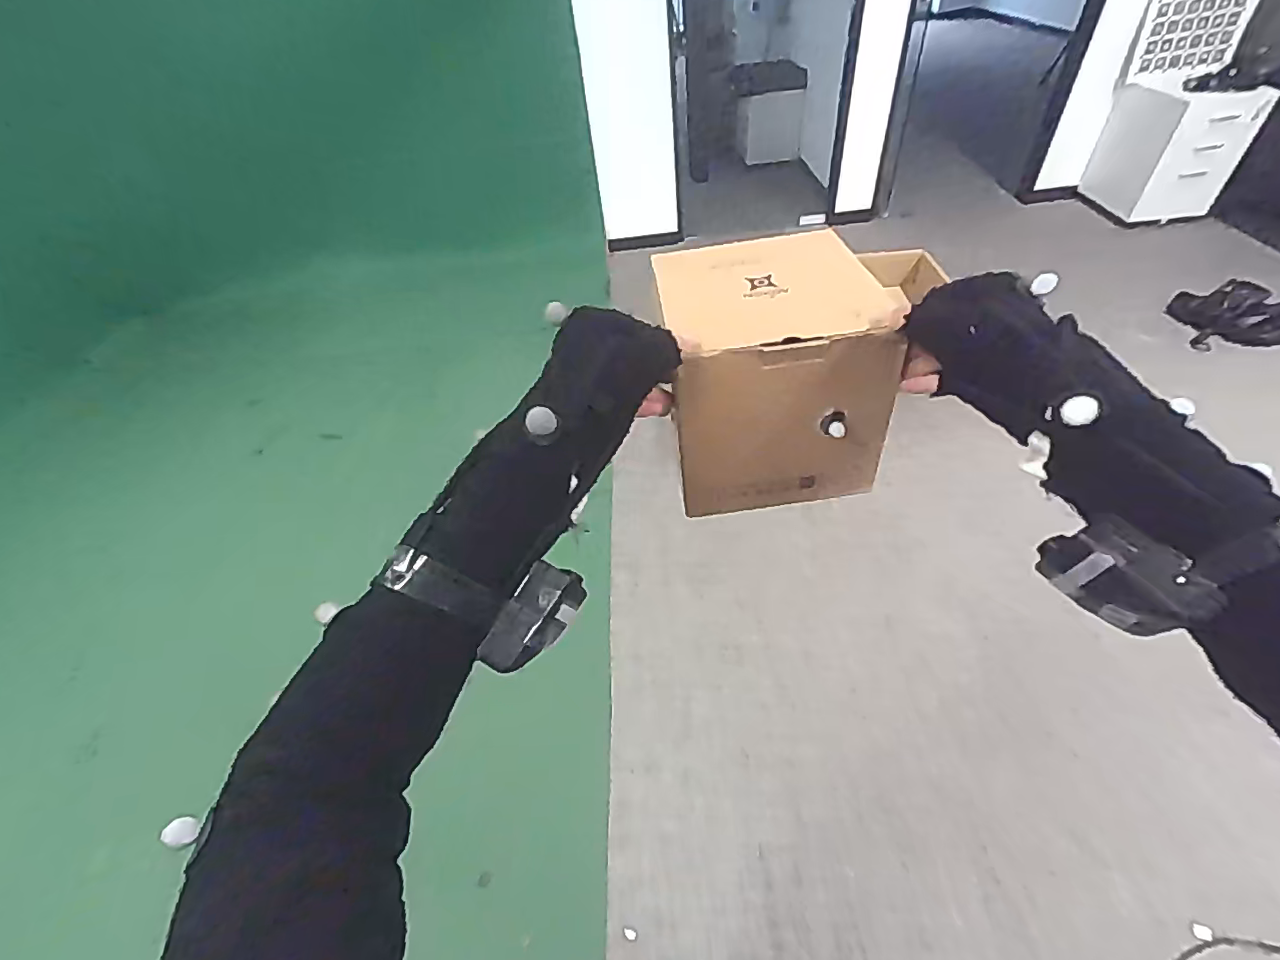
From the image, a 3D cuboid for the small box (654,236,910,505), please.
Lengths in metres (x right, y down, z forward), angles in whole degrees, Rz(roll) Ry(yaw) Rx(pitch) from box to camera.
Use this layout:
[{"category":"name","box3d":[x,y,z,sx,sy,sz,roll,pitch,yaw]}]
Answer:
[{"category":"small box","box3d":[0.107,-0.092,0.481,0.168,0.176,0.179,-7,42,0]}]
